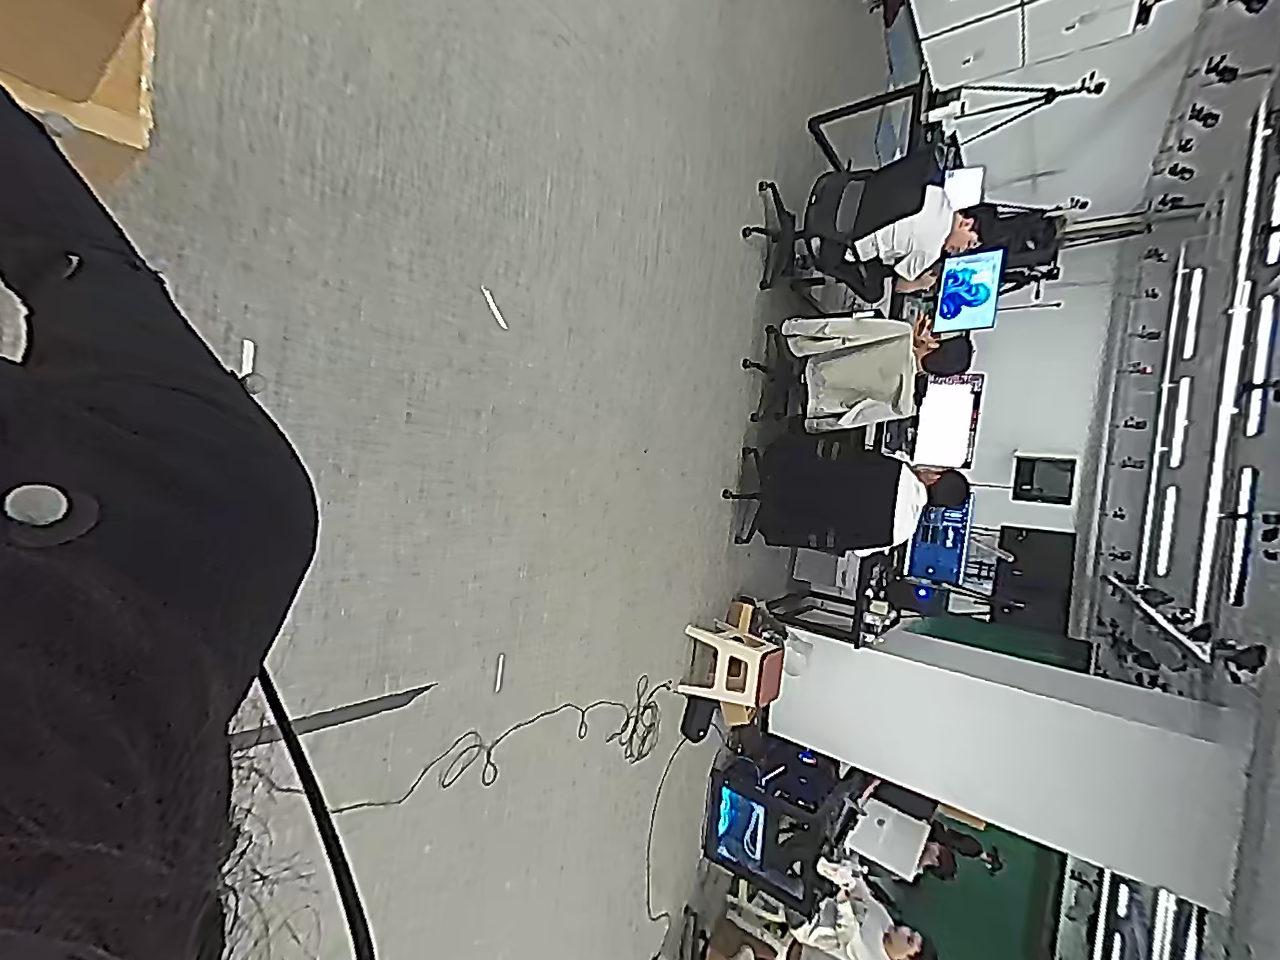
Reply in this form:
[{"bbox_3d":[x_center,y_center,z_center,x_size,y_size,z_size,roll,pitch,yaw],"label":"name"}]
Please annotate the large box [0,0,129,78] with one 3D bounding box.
[{"bbox_3d":[-0.651,-0.607,0.388,0.408,0.320,0.320,2,95,-55],"label":"large box"}]
